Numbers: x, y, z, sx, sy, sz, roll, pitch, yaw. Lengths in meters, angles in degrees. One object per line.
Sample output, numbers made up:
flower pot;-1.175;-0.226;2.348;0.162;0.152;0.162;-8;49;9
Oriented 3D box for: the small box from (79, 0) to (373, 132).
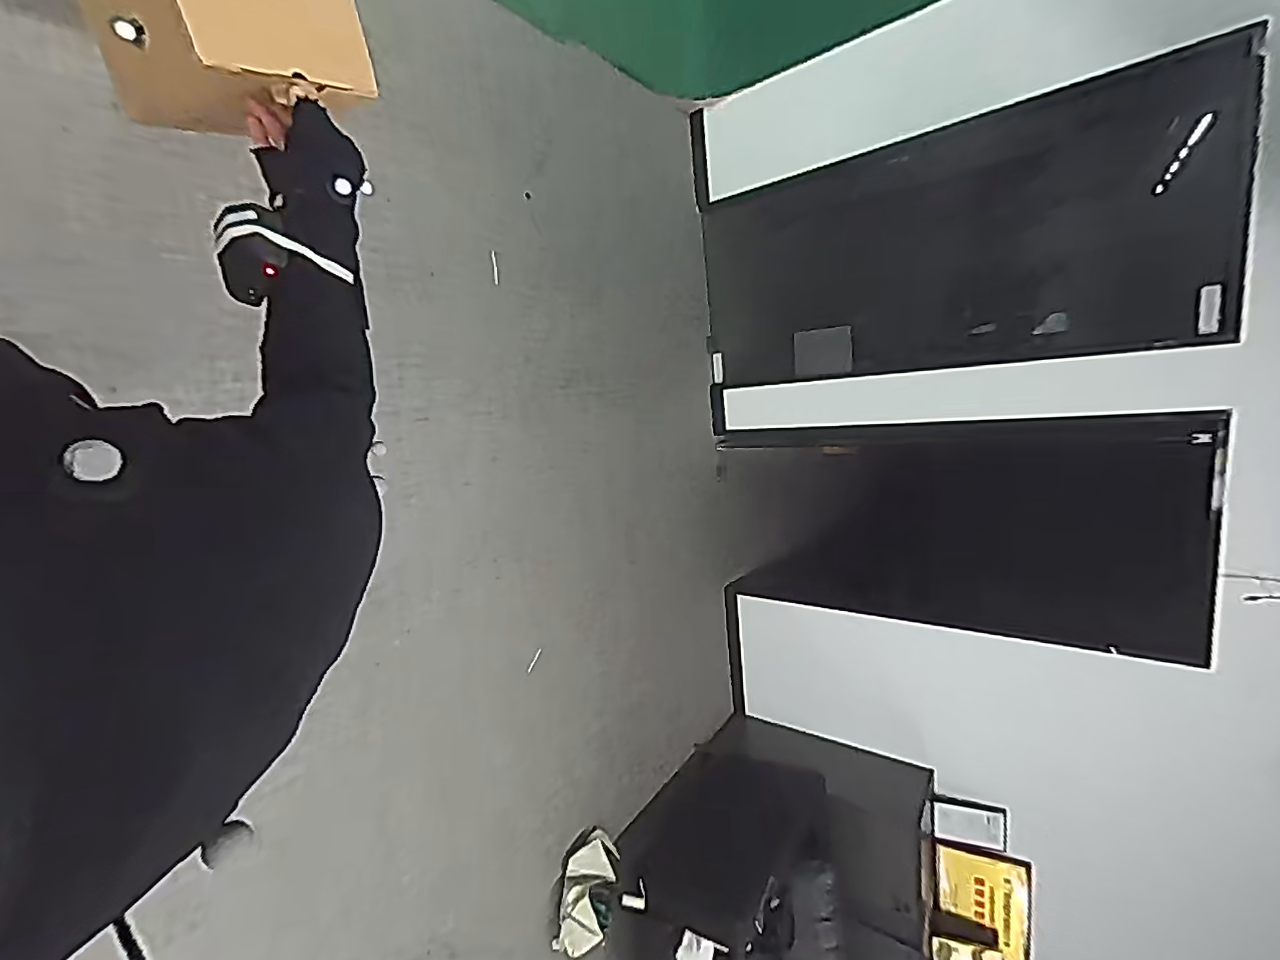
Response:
small box;-0.395;-0.451;0.507;0.168;0.176;0.179;-37;124;-50
